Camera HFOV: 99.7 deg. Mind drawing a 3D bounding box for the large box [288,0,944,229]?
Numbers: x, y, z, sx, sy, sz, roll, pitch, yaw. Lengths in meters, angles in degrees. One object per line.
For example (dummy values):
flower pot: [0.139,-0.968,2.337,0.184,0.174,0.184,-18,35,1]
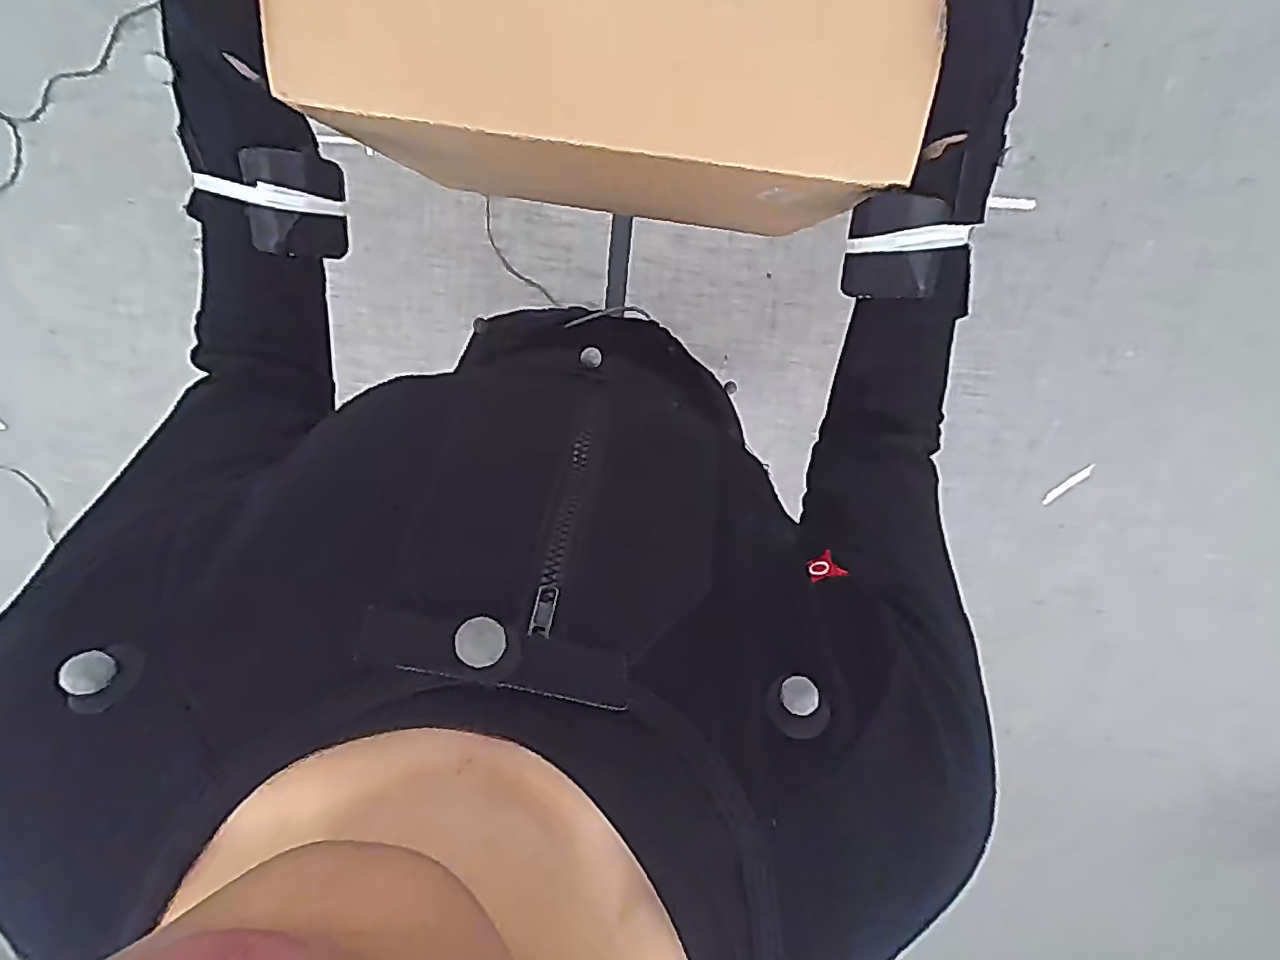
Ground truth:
large box: [-0.007,-0.411,0.444,0.408,0.320,0.320,7,110,-3]
